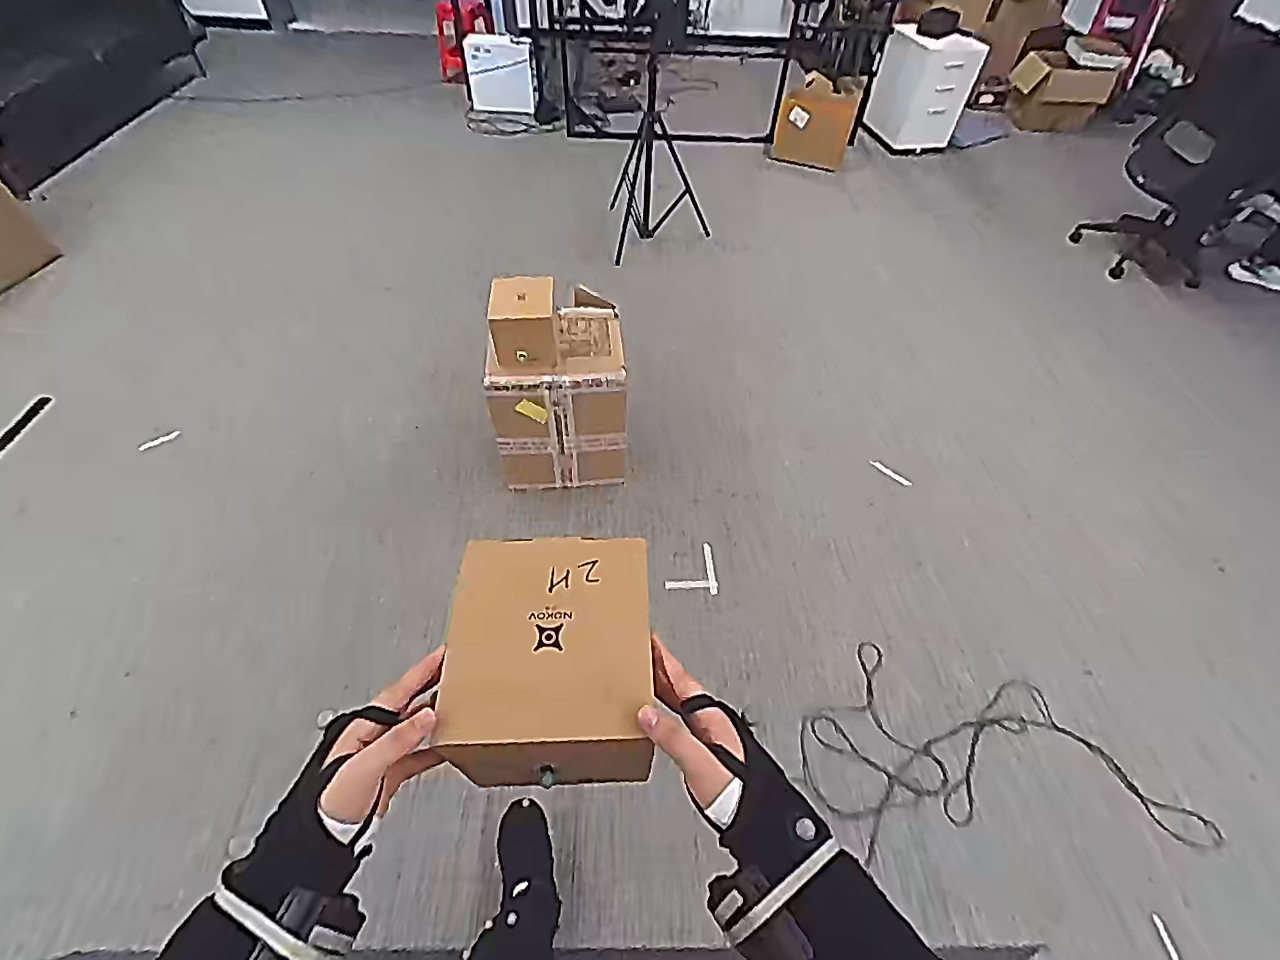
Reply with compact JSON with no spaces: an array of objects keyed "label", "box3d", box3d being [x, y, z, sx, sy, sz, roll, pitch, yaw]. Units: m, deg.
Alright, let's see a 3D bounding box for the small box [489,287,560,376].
[{"label":"small box","box3d":[-0.312,-0.408,1.490,0.168,0.176,0.179,-4,56,-4]}]
